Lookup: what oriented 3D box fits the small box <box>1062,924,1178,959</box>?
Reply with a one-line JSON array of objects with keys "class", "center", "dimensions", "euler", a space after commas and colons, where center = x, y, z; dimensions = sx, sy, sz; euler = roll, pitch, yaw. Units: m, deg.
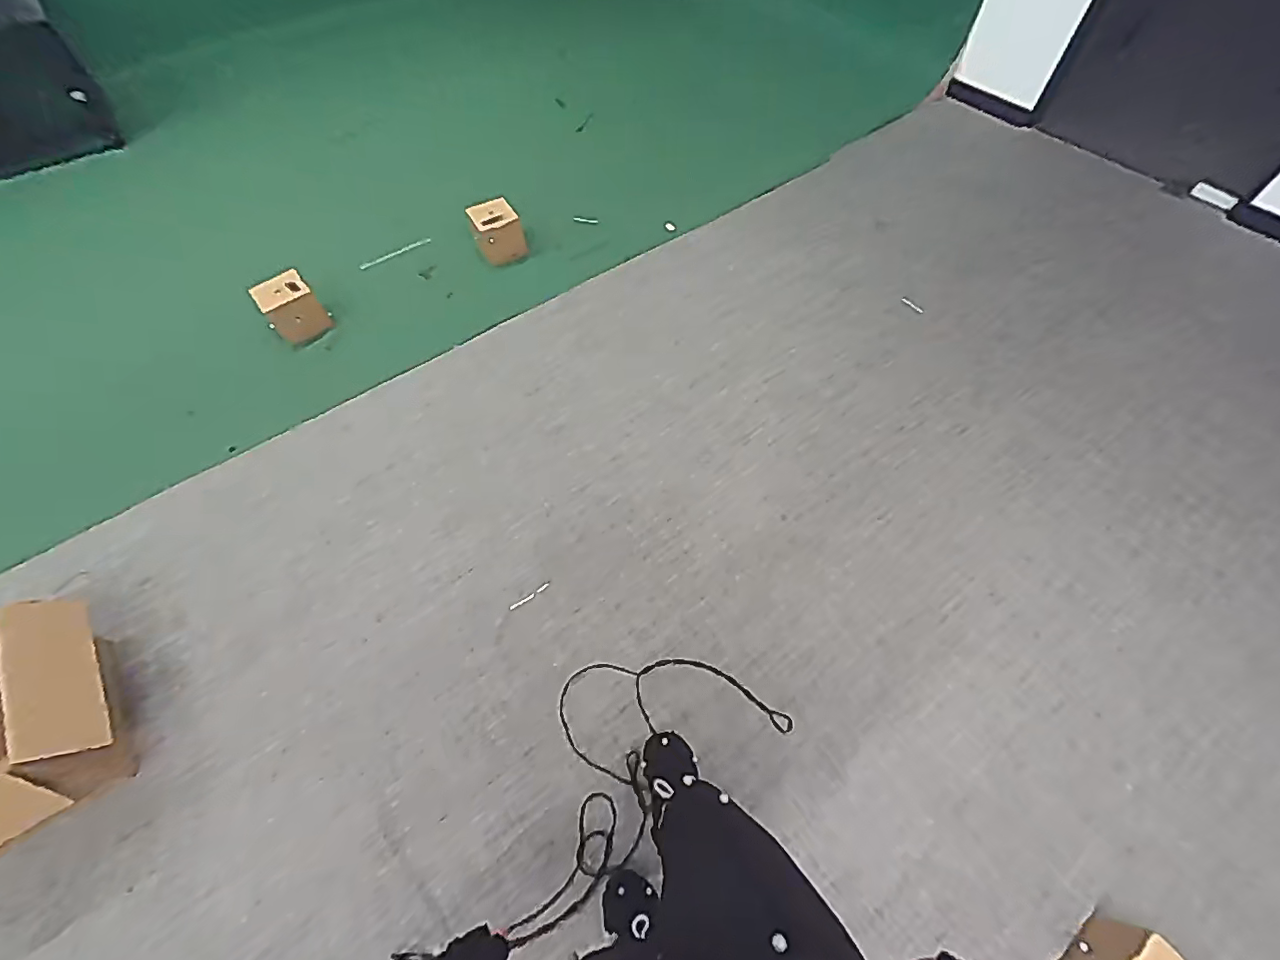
[{"class": "small box", "center": [0.916, 0.963, 0.982], "dimensions": [0.168, 0.176, 0.179], "euler": [-34, 64, -18]}]

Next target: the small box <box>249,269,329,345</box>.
[{"class": "small box", "center": [-1.292, -0.639, 2.008], "dimensions": [0.179, 0.176, 0.168], "euler": [-36, 64, -17]}]
